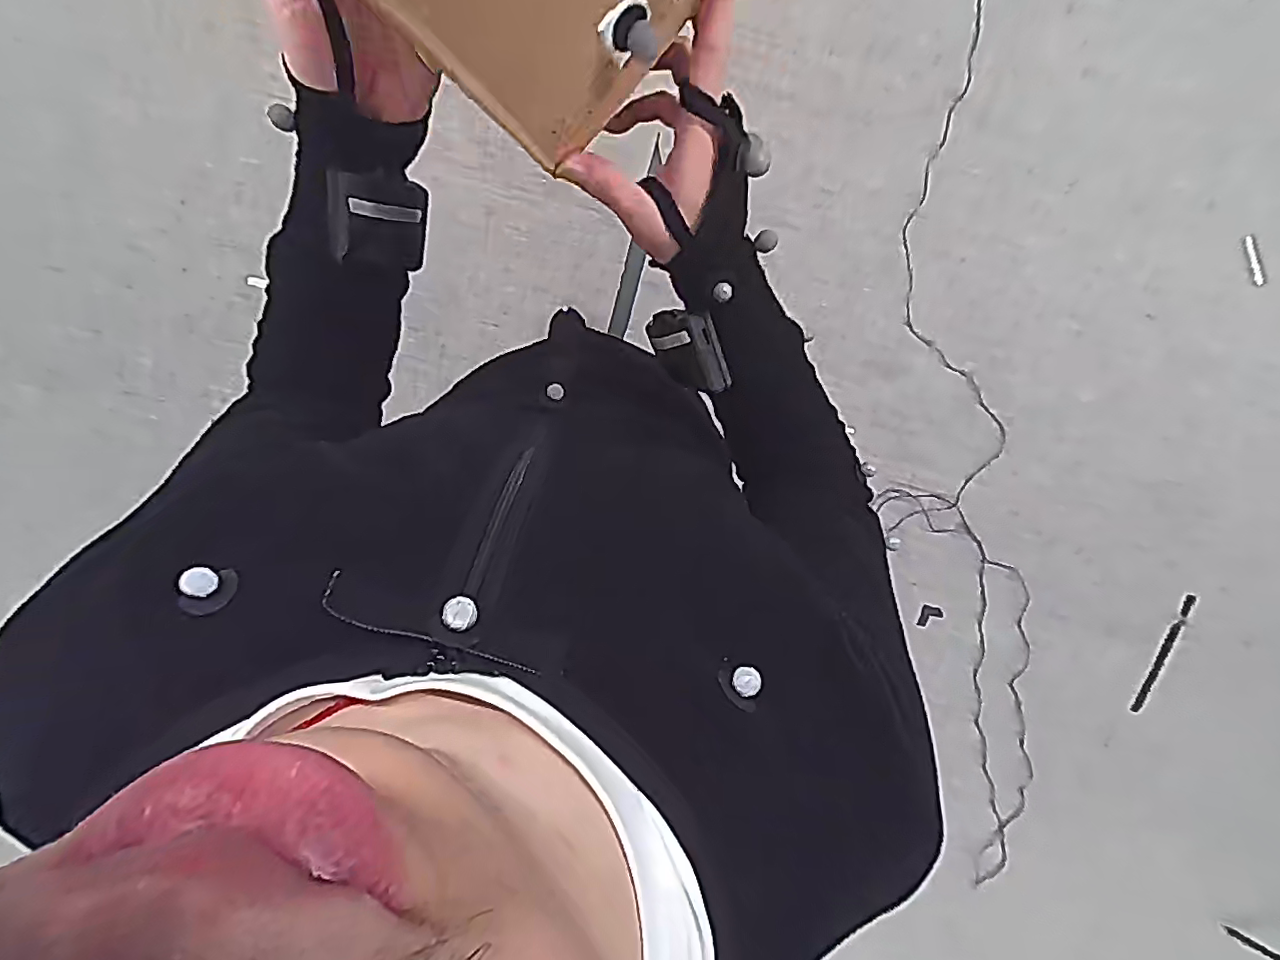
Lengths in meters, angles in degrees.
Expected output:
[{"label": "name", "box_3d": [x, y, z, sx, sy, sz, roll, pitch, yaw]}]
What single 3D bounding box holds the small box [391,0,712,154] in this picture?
[{"label": "small box", "box_3d": [-0.063, -0.278, 0.215, 0.179, 0.176, 0.168, 46, 107, 5]}]
